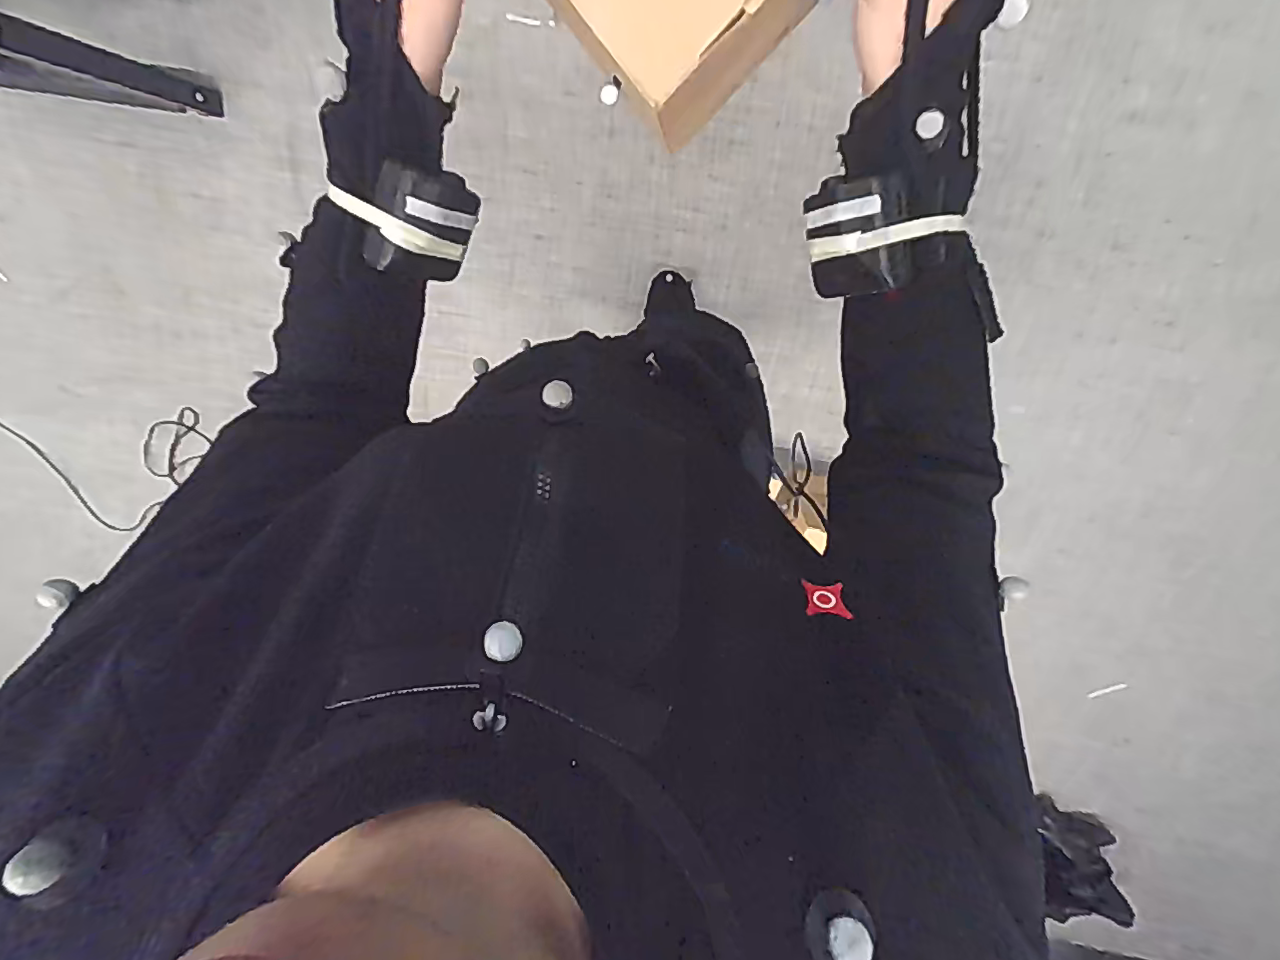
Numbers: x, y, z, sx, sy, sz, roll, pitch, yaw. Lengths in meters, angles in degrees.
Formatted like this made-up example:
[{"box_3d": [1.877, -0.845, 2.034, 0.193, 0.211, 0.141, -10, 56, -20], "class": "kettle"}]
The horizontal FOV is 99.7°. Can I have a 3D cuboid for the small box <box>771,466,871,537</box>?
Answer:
[{"box_3d": [0.425, 0.082, 1.307, 0.168, 0.176, 0.179, 14, 112, 1], "class": "small box"}]

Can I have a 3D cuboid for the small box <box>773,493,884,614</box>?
[{"box_3d": [0.393, 0.152, 1.162, 0.168, 0.176, 0.179, 14, 112, 2], "class": "small box"}]
